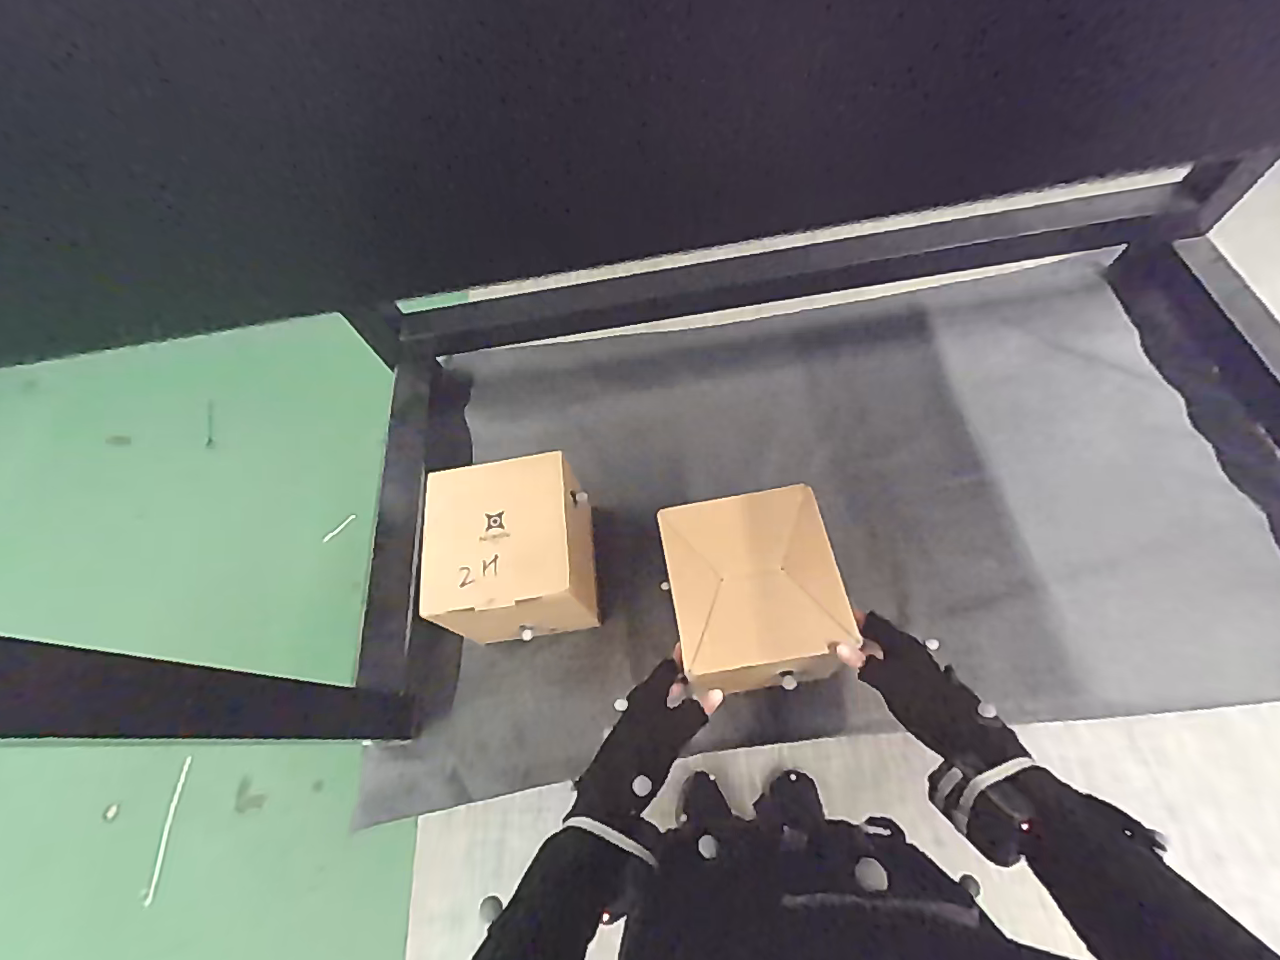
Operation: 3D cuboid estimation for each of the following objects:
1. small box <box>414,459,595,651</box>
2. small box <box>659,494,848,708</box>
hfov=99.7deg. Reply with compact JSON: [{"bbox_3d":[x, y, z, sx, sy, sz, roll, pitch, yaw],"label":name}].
[{"bbox_3d":[-0.155,0.099,0.671,0.168,0.176,0.179,-9,61,4],"label":"small box"},{"bbox_3d":[0.118,0.140,0.605,0.168,0.176,0.179,-10,60,2],"label":"small box"}]
